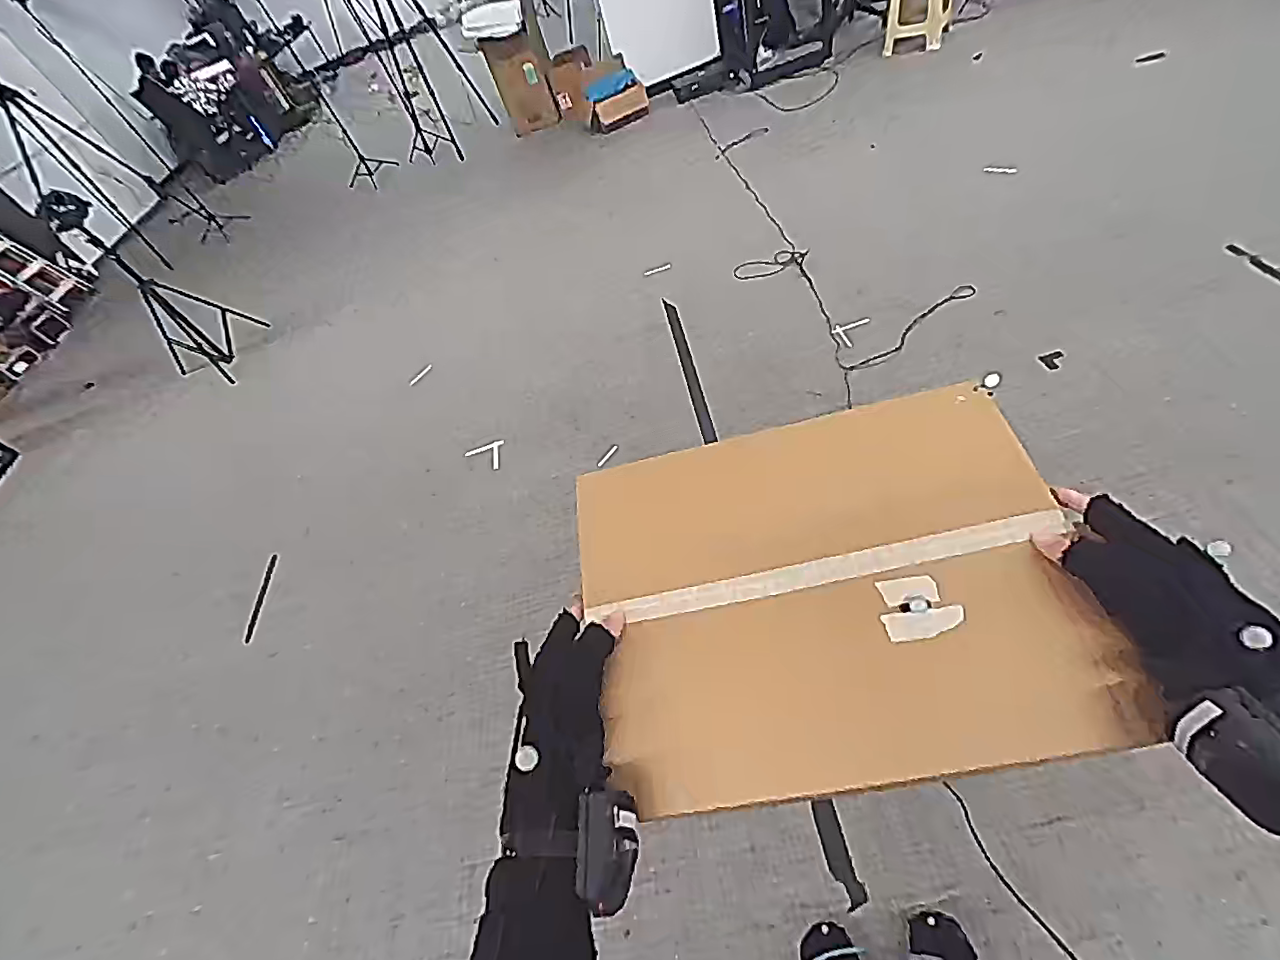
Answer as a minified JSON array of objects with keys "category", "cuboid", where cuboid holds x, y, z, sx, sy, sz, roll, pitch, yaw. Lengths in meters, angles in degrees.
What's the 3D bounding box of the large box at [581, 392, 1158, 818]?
[{"category":"large box","cuboid":[0.180,0.161,0.597,0.408,0.320,0.320,-13,58,7]}]
